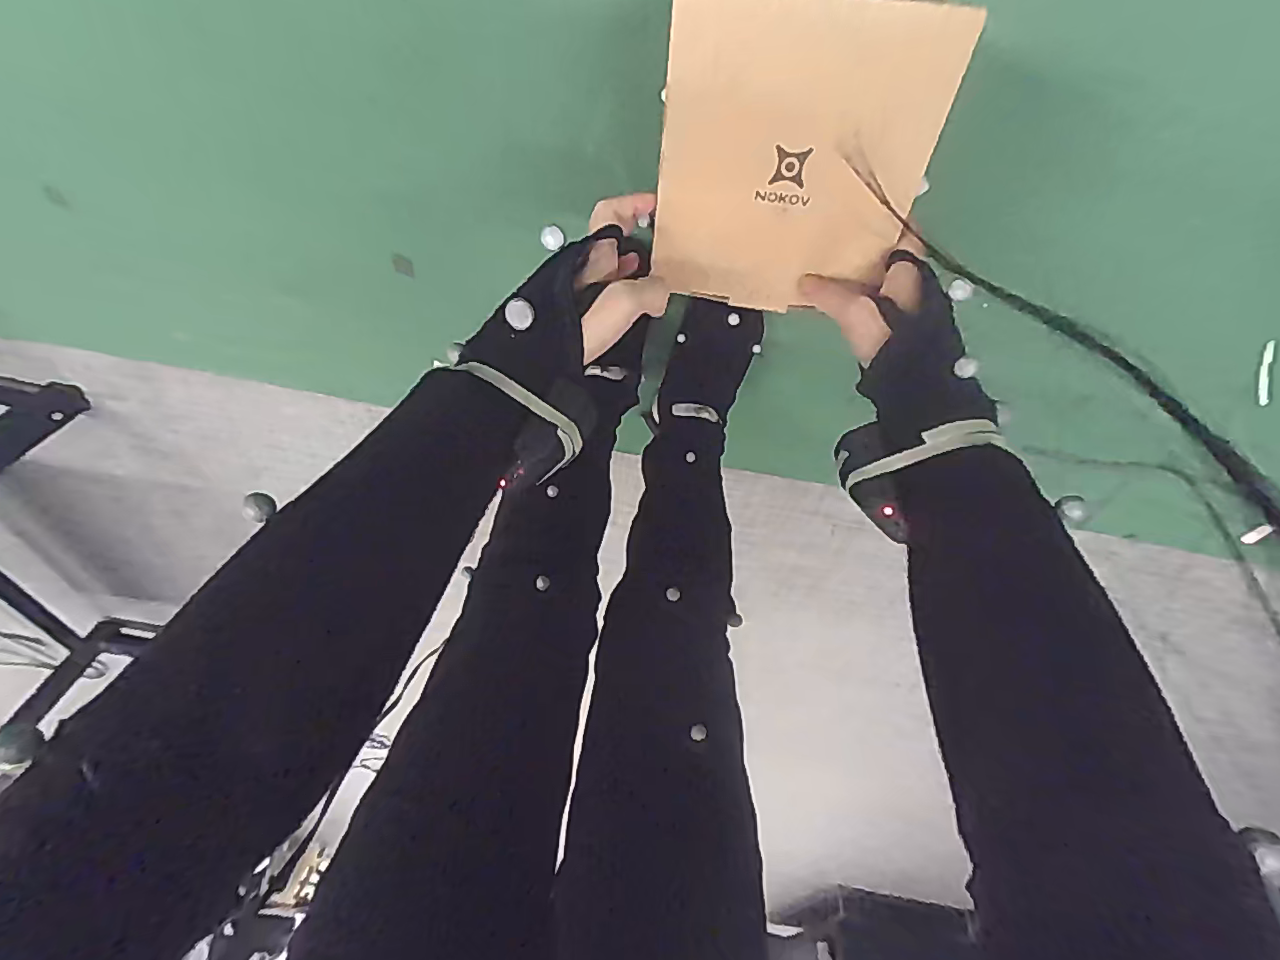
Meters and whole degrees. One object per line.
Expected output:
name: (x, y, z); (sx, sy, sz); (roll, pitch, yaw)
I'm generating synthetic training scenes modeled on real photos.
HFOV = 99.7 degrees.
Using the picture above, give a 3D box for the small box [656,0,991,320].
small box: (0.107, -0.246, 0.399); (0.168, 0.176, 0.179); (8, 135, 3)
